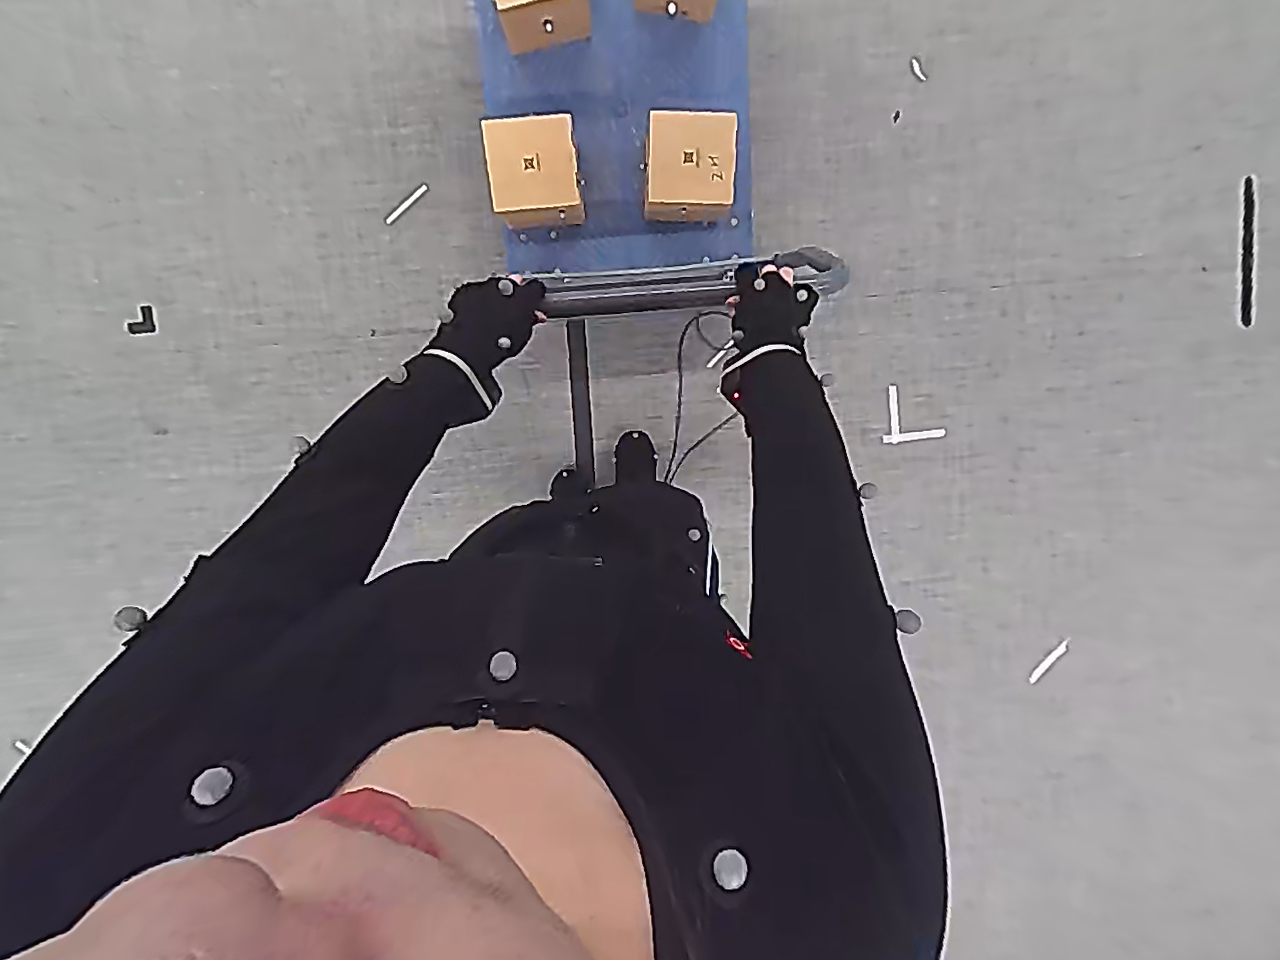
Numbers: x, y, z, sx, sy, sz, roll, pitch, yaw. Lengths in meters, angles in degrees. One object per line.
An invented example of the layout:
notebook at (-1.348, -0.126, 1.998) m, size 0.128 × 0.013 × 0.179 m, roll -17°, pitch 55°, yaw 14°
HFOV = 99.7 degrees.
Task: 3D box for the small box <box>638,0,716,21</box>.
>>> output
small box at (0.085, -1.050, 1.048) m, size 0.168 × 0.176 × 0.179 m, roll 6°, pitch 104°, yaw -4°

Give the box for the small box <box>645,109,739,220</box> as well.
small box at (0.102, -0.658, 1.146) m, size 0.179 × 0.176 × 0.168 m, roll 1°, pitch 105°, yaw -3°

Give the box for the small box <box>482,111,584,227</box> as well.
small box at (-0.216, -0.643, 1.136) m, size 0.179 × 0.176 × 0.168 m, roll -7°, pitch 104°, yaw -3°
